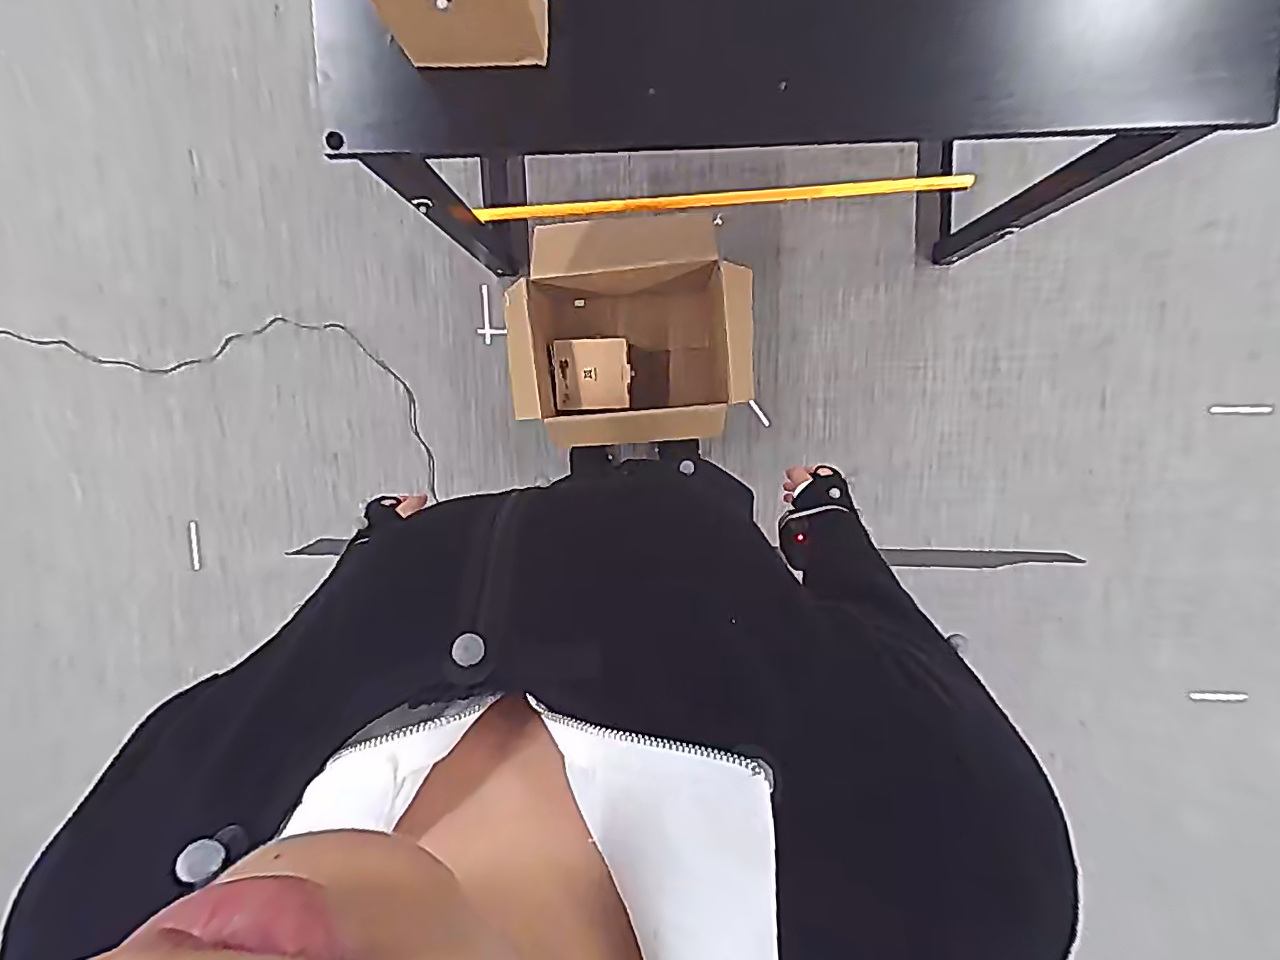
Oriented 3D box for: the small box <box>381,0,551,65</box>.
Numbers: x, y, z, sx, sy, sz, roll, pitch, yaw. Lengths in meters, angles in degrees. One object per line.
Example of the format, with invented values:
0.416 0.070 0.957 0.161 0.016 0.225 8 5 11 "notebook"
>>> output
-0.201 -0.596 0.597 0.179 0.176 0.168 0 98 0 "small box"
